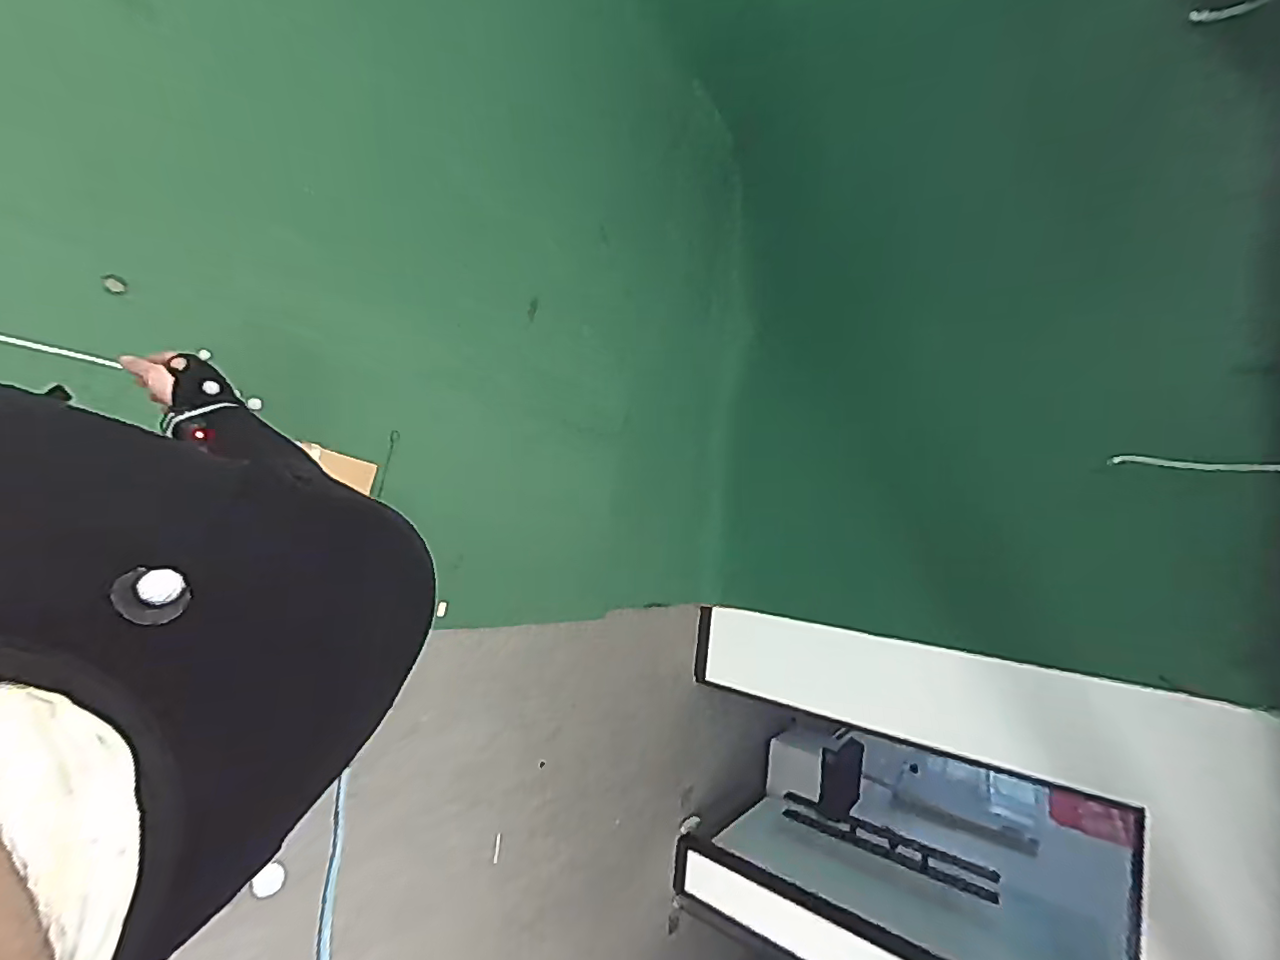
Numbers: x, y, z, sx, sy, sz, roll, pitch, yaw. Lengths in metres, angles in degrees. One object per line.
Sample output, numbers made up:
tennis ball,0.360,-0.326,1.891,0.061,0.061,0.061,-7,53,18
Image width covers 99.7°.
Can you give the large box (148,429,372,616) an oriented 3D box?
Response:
large box,-0.936,0.105,1.347,0.320,0.320,0.408,23,74,-51
